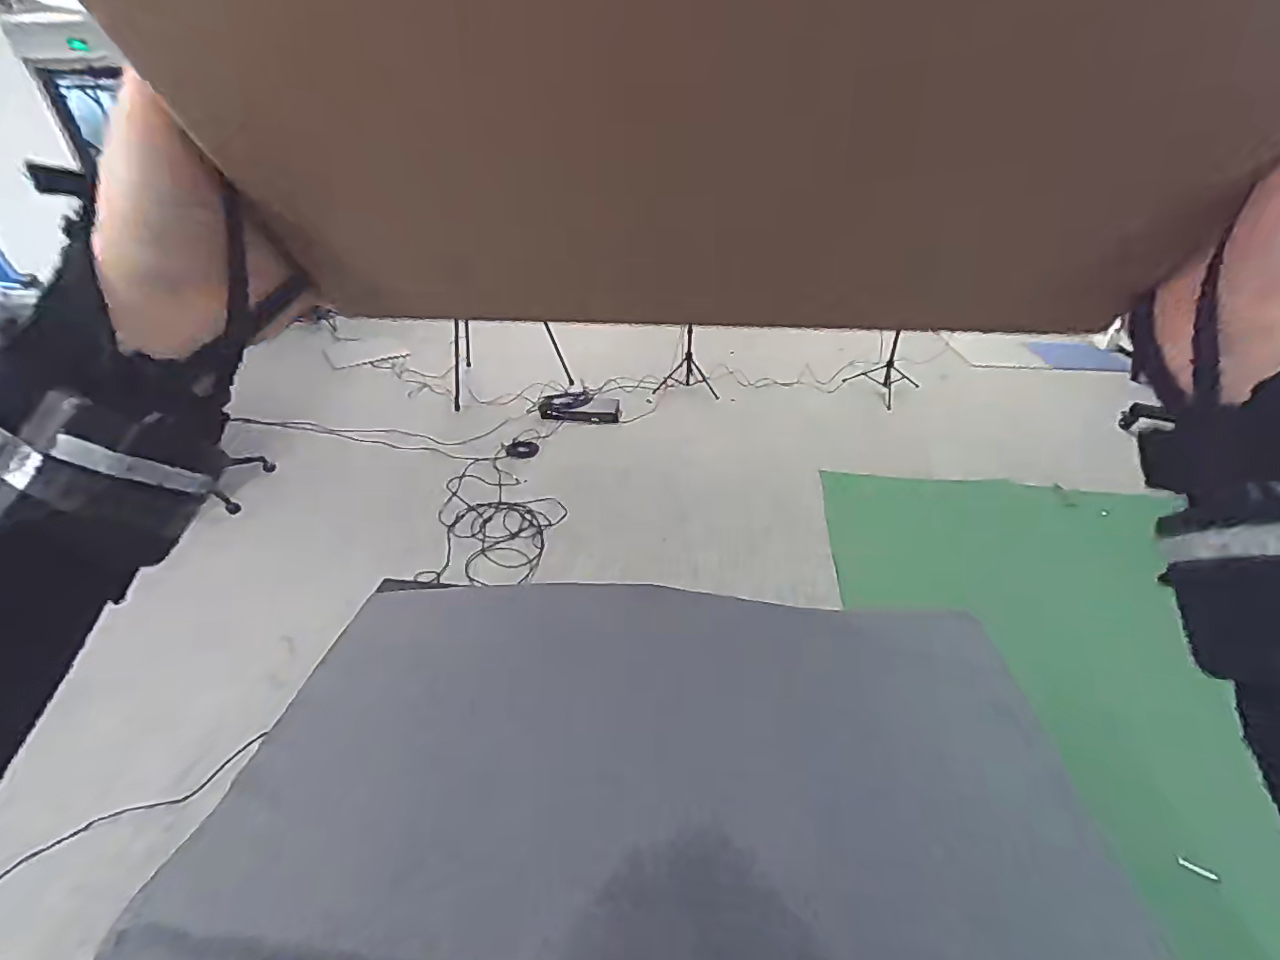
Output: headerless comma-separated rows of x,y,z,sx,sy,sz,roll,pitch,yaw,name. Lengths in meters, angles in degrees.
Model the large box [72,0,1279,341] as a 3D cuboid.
0.022,-0.276,0.231,0.408,0.320,0.320,3,67,6,large box
